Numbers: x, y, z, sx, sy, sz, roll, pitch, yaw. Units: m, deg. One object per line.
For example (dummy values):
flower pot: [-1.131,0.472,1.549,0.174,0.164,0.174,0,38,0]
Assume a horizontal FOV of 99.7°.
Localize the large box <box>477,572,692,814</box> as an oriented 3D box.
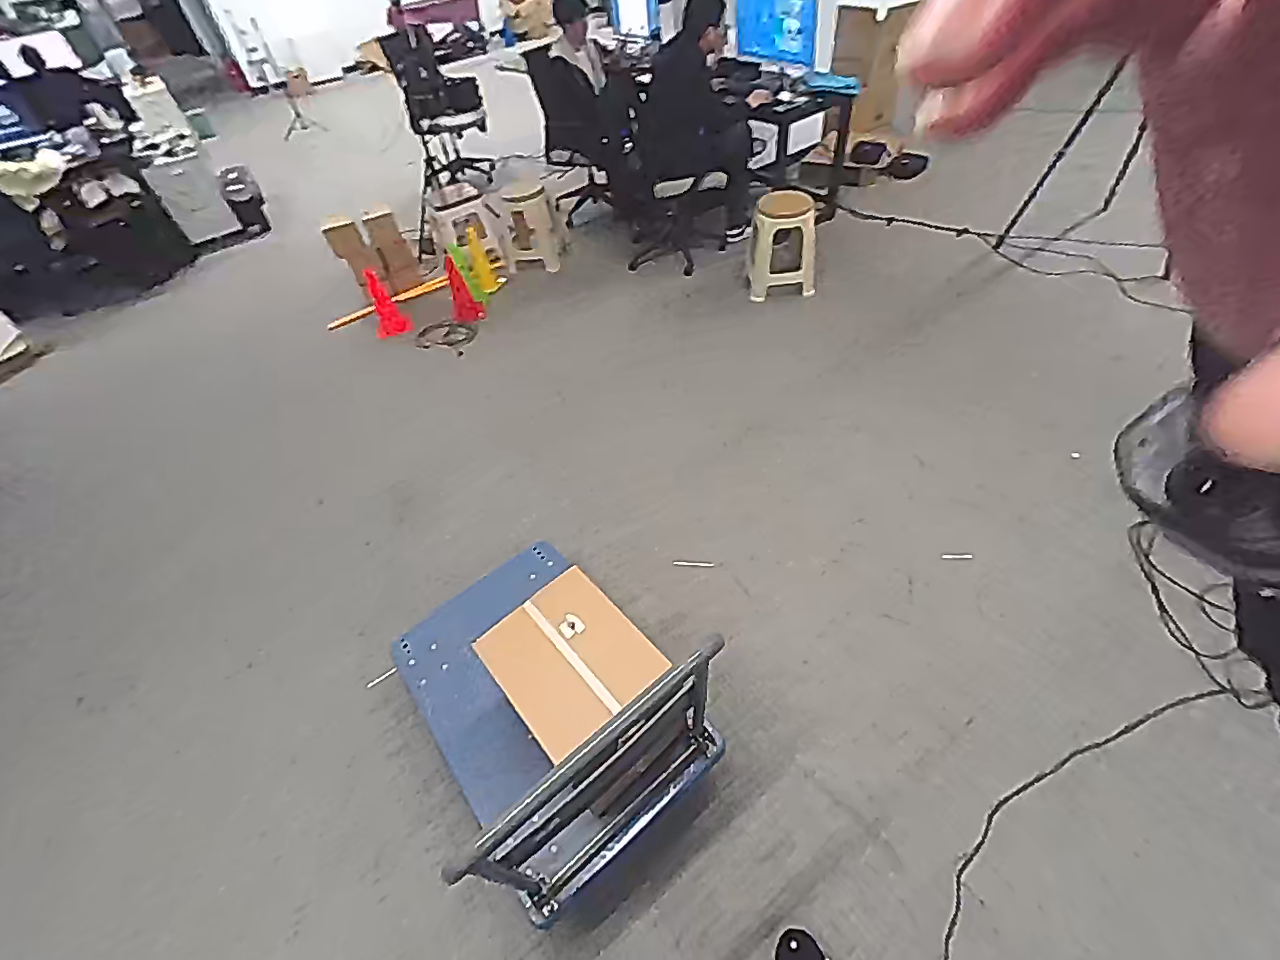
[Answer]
large box: [-0.123,0.515,1.329,0.320,0.320,0.408,-36,52,-23]
